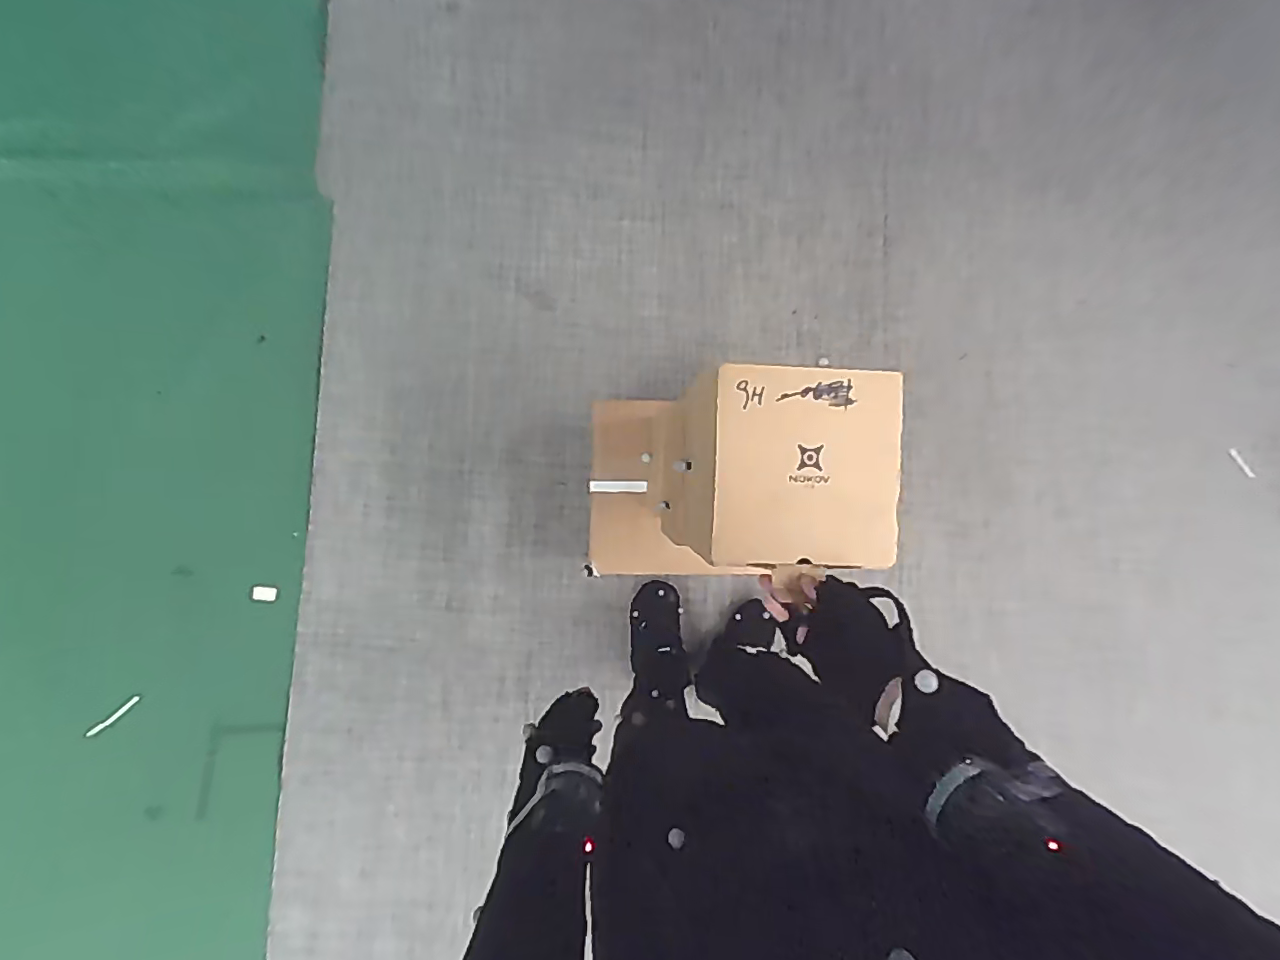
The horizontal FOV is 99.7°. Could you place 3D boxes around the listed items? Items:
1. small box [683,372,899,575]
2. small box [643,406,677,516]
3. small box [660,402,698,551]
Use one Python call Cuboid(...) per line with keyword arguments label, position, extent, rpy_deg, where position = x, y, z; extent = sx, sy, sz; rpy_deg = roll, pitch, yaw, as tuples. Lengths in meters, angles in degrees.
Cuboid(label="small box", position=(0.139, -0.008, 0.555), extent=(0.168, 0.176, 0.179), rpy_deg=(1, 92, -5))
Cuboid(label="small box", position=(0.108, -0.016, 0.876), extent=(0.179, 0.176, 0.168), rpy_deg=(8, 88, -4))
Cuboid(label="small box", position=(0.119, -0.003, 0.717), extent=(0.168, 0.176, 0.179), rpy_deg=(2, 89, -5))
